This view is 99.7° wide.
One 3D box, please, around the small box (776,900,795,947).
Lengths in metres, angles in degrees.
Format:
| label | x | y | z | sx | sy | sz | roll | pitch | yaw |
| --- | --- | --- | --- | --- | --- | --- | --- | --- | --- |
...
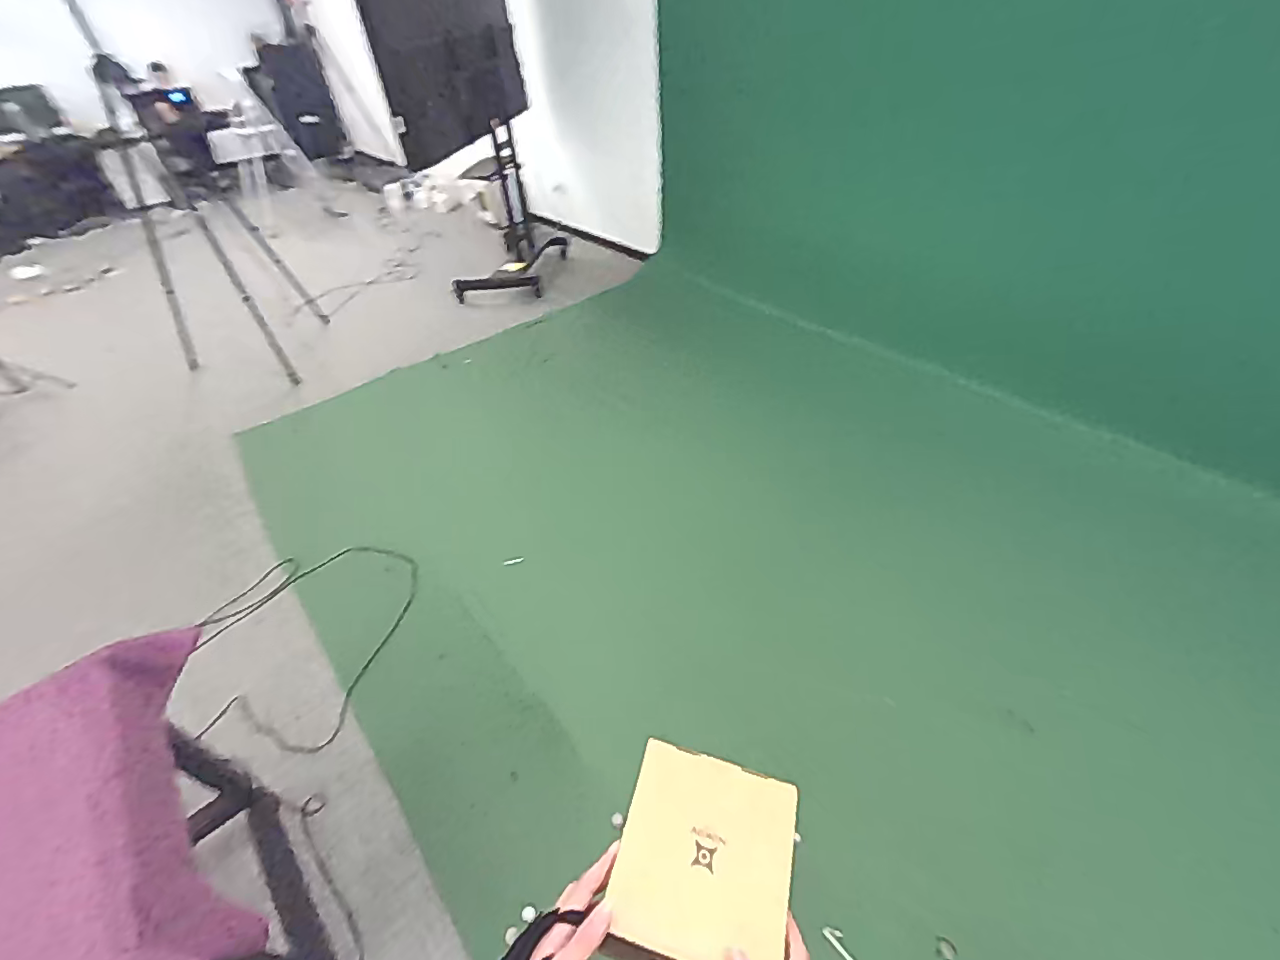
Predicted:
| label | x | y | z | sx | sy | sz | roll | pitch | yaw |
| --- | --- | --- | --- | --- | --- | --- | --- | --- | --- |
| small box | 0.214 | 0.986 | 1.200 | 0.179 | 0.176 | 0.168 | -32 | 49 | -26 |

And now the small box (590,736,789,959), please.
| label | x | y | z | sx | sy | sz | roll | pitch | yaw |
| --- | --- | --- | --- | --- | --- | --- | --- | --- | --- |
| small box | 0.054 | 0.416 | 0.580 | 0.168 | 0.176 | 0.179 | 13 | 43 | 10 |
